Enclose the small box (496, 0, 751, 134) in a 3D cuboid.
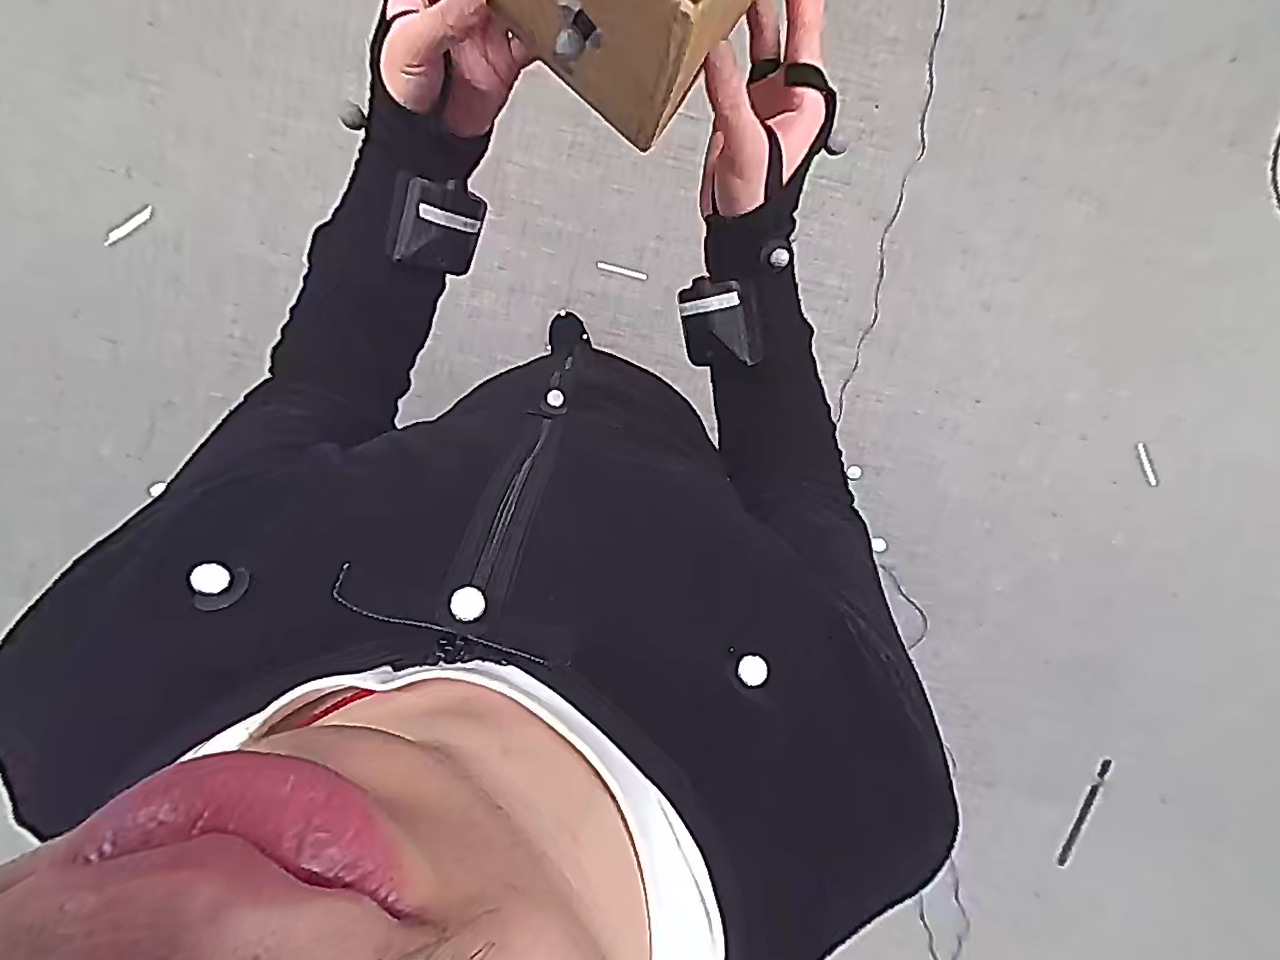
[{"bbox_3d":[0.001,-0.297,0.231,0.168,0.176,0.179,35,99,-16],"label":"small box"}]
